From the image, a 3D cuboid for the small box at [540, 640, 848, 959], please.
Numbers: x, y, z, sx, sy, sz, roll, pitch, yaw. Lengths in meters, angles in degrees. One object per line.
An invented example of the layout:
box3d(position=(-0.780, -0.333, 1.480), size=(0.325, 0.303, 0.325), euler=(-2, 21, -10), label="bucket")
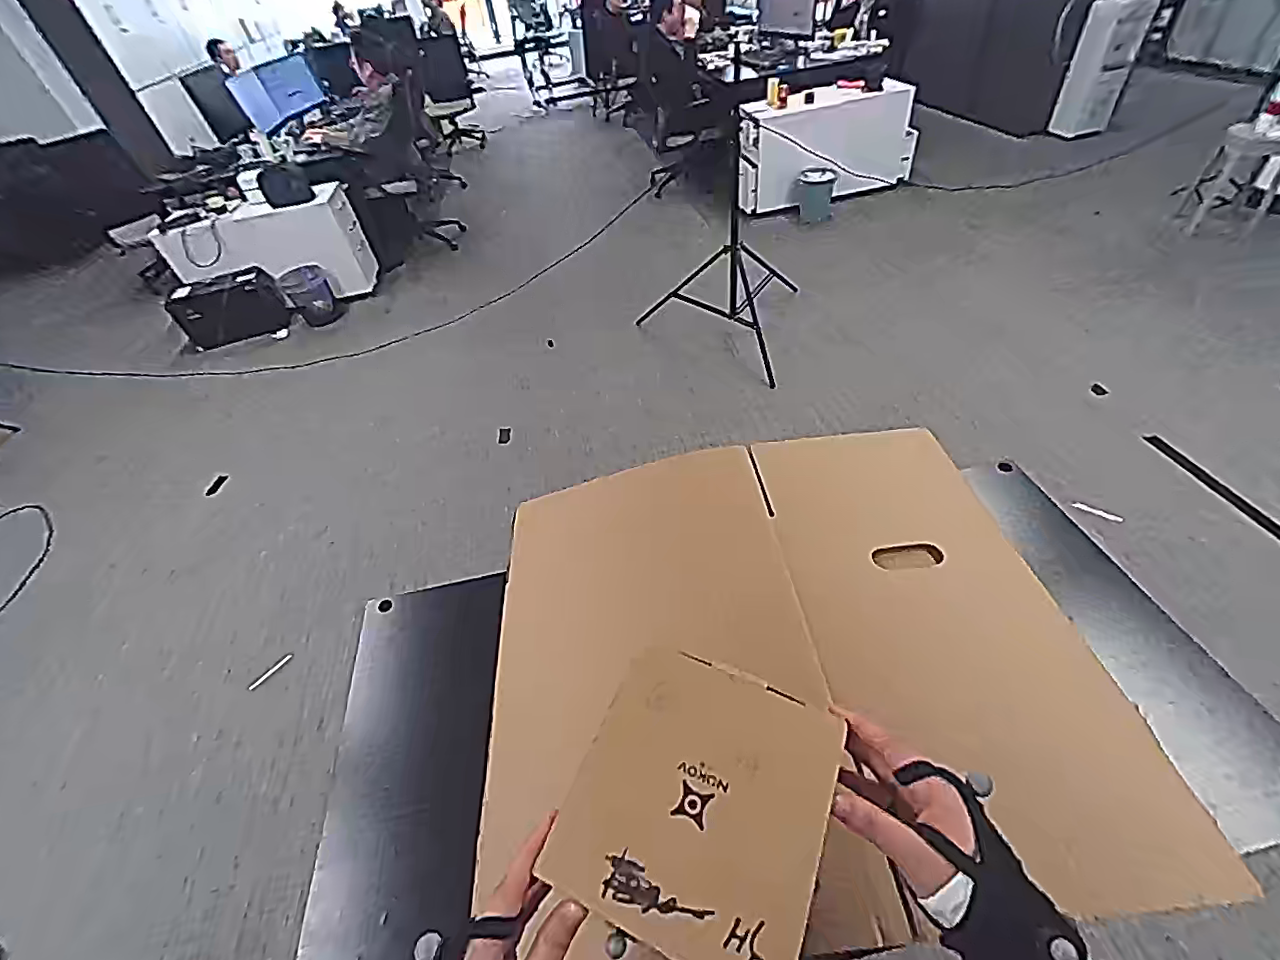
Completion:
box3d(position=(0.049, 0.266, 0.427), size=(0.168, 0.176, 0.179), euler=(15, 51, 22), label="small box")
